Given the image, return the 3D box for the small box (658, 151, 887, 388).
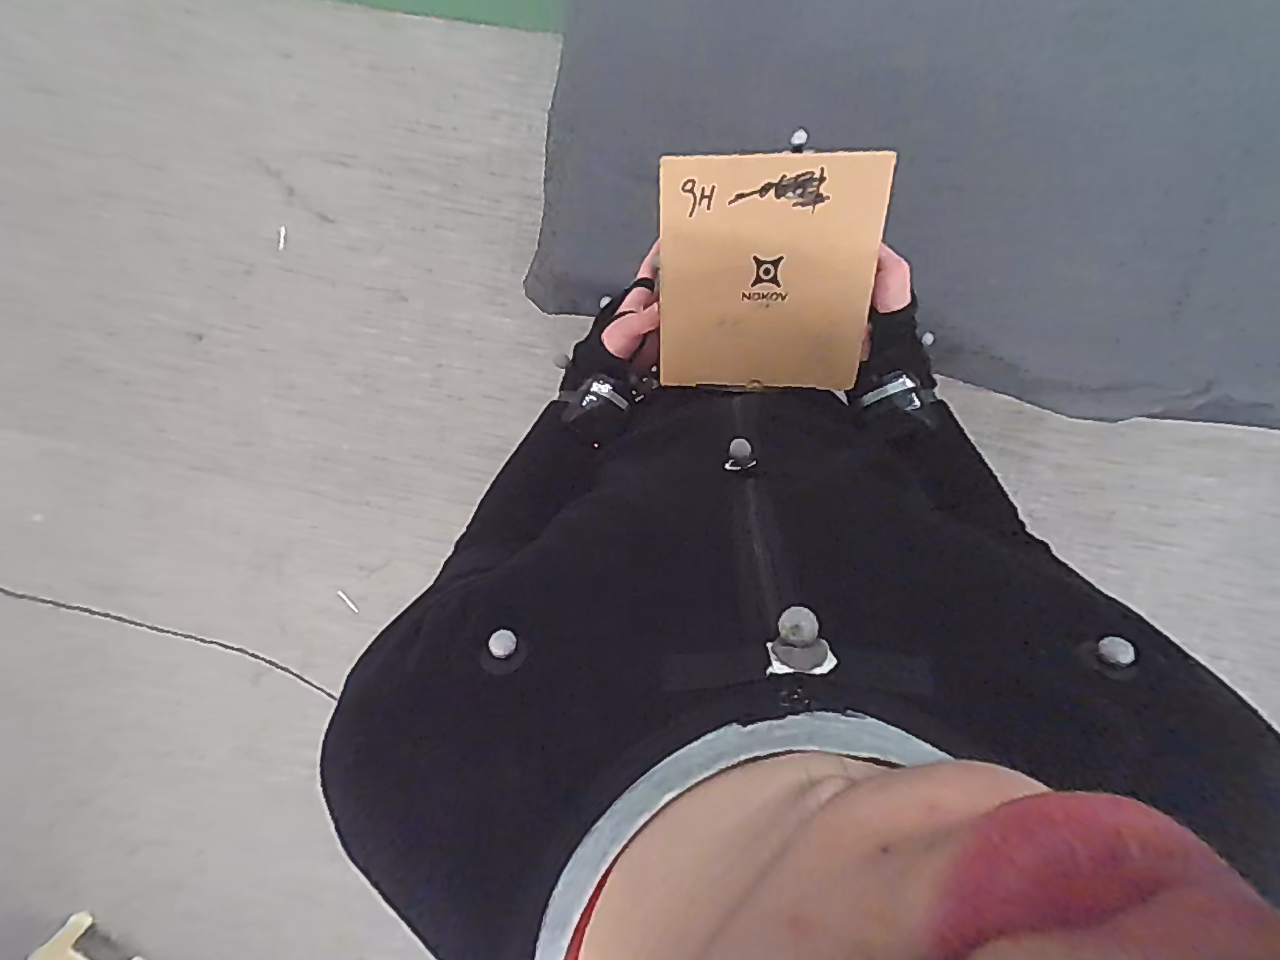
[{"bbox_3d":[0.105,-0.201,0.504,0.168,0.176,0.179,2,122,5],"label":"small box"}]
